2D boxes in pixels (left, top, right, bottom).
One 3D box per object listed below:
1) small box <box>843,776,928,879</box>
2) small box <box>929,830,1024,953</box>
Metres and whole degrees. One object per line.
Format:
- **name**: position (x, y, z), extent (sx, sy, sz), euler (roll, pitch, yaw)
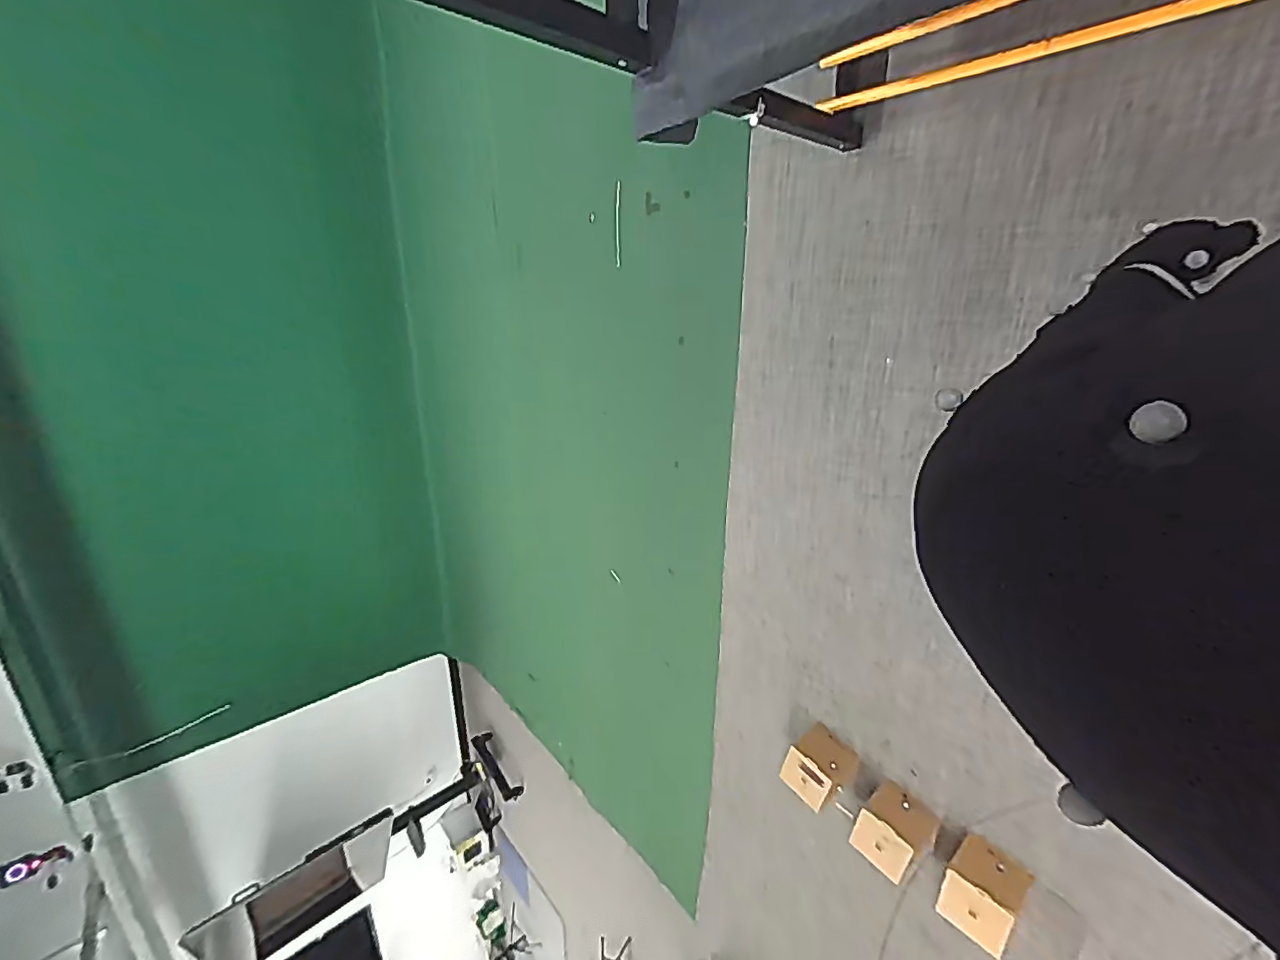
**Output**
- **small box**: position (0.772, 1.082, 1.696), extent (0.168, 0.176, 0.179), euler (30, 123, 40)
- **small box**: position (0.943, 1.141, 1.513), extent (0.168, 0.176, 0.179), euler (22, 117, 45)
